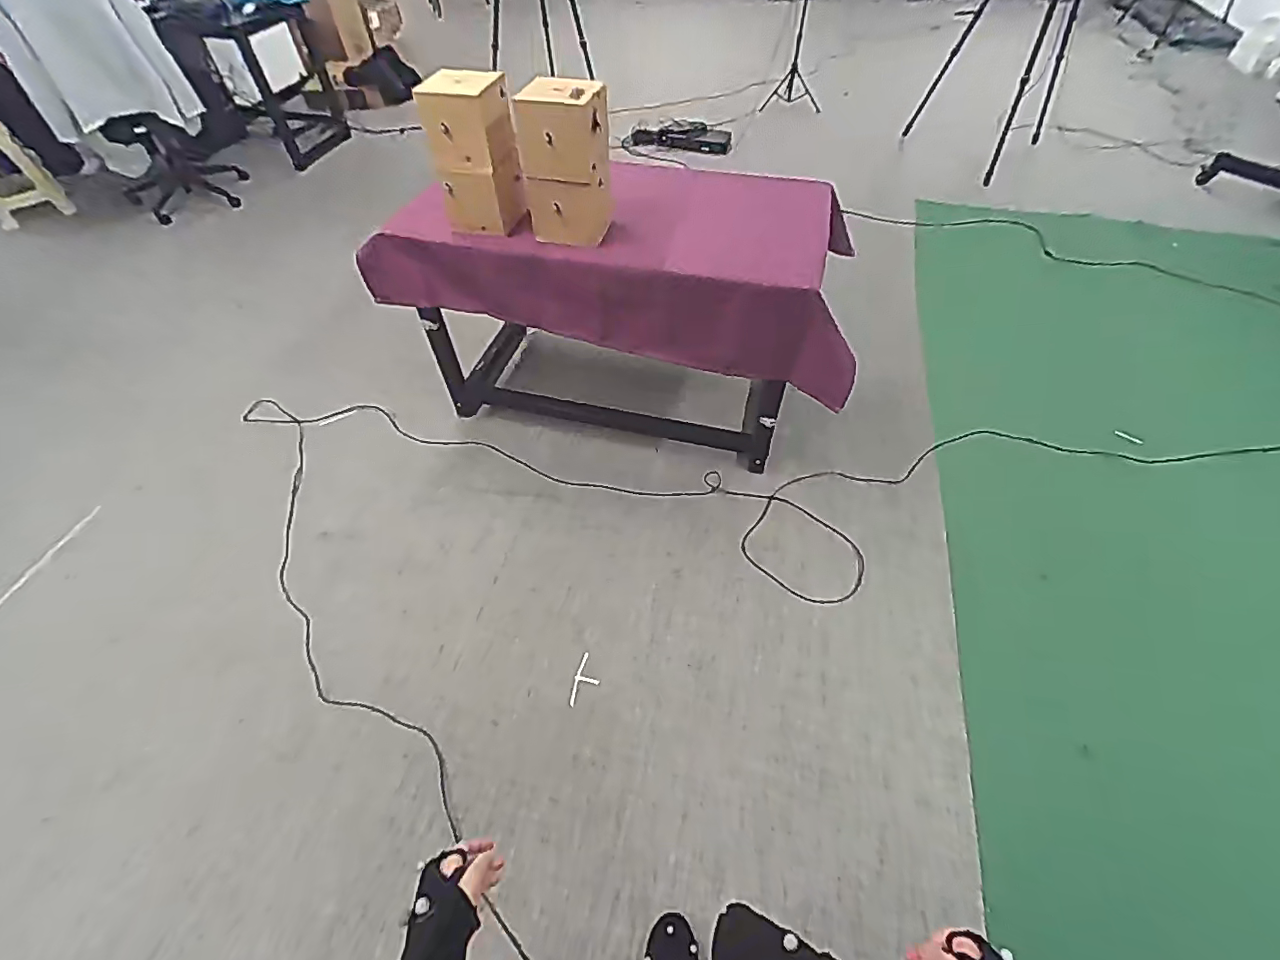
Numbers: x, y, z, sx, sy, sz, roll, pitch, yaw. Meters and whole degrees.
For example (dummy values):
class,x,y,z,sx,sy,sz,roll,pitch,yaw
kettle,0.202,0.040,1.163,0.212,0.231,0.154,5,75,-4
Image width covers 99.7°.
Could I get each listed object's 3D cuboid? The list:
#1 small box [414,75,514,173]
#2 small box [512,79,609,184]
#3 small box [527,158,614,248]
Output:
class,x,y,z,sx,sy,sz,roll,pitch,yaw
small box,-0.430,-0.893,1.359,0.168,0.176,0.179,8,51,8
small box,-0.181,-0.838,1.304,0.179,0.176,0.168,11,52,11
small box,-0.177,-0.739,1.436,0.179,0.176,0.168,10,53,10
